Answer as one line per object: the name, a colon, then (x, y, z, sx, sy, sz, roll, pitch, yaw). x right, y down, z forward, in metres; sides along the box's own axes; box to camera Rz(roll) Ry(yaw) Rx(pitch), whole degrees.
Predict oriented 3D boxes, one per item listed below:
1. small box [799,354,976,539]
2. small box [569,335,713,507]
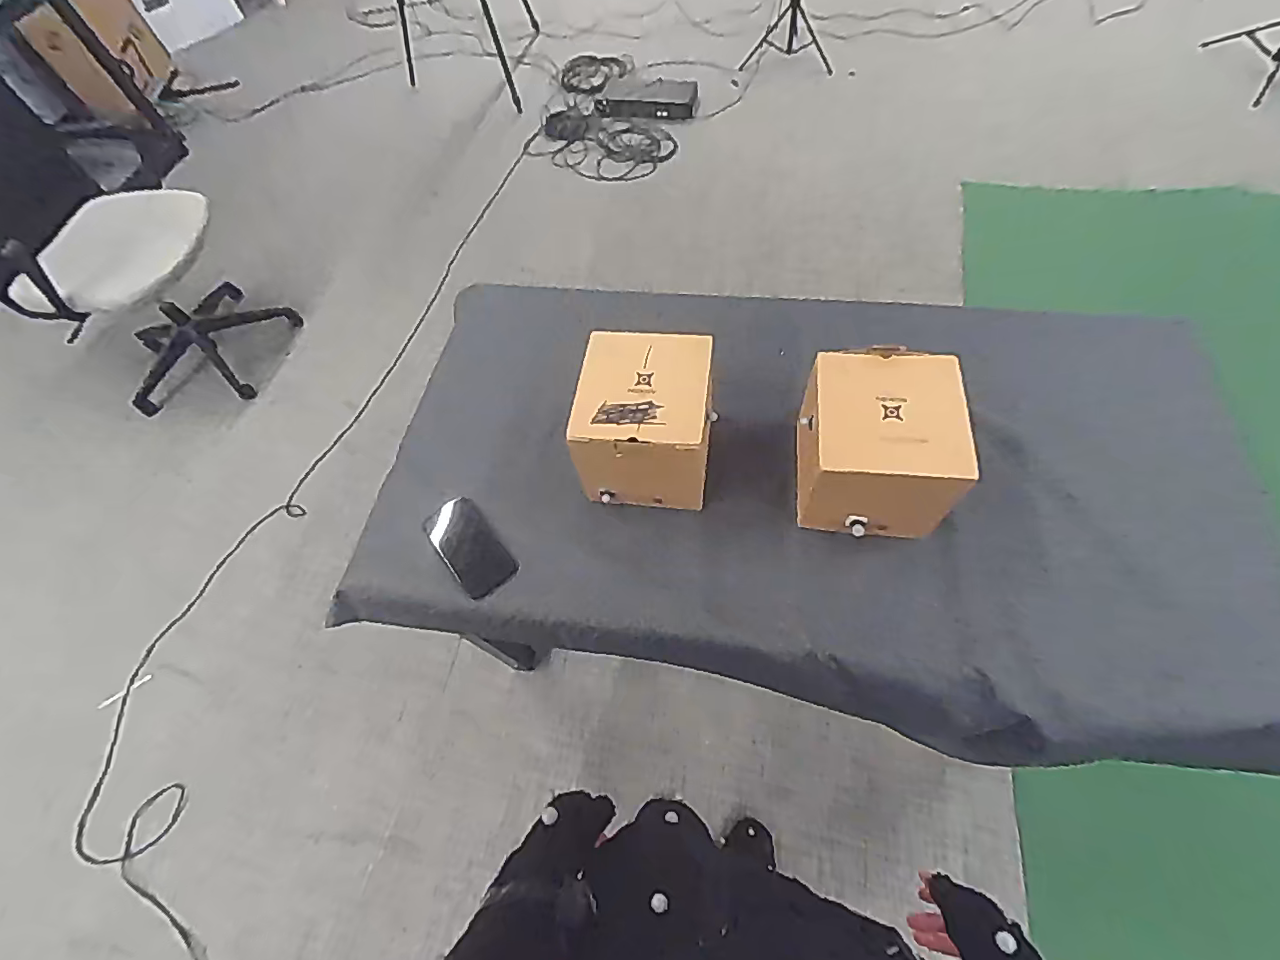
small box: (0.301, -0.041, 0.701, 0.168, 0.176, 0.179, 3, 62, 10)
small box: (0.012, -0.077, 0.751, 0.168, 0.176, 0.179, 4, 60, 9)
